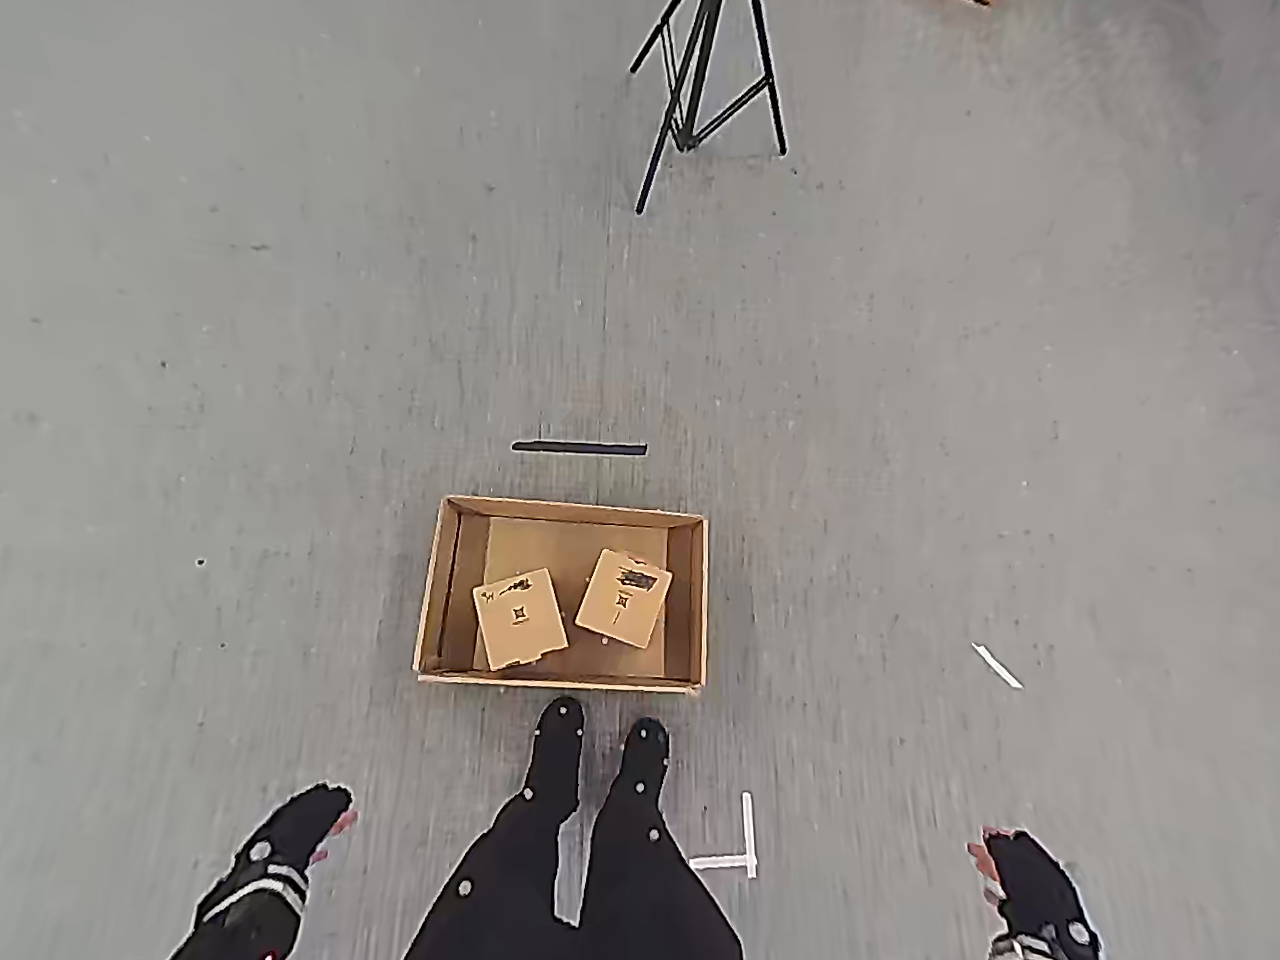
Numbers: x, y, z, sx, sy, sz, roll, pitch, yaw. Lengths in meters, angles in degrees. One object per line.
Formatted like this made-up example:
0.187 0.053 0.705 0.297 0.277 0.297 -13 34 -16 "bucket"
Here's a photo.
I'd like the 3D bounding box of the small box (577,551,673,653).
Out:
-0.038 0.283 1.241 0.168 0.176 0.179 21 73 2 "small box"
